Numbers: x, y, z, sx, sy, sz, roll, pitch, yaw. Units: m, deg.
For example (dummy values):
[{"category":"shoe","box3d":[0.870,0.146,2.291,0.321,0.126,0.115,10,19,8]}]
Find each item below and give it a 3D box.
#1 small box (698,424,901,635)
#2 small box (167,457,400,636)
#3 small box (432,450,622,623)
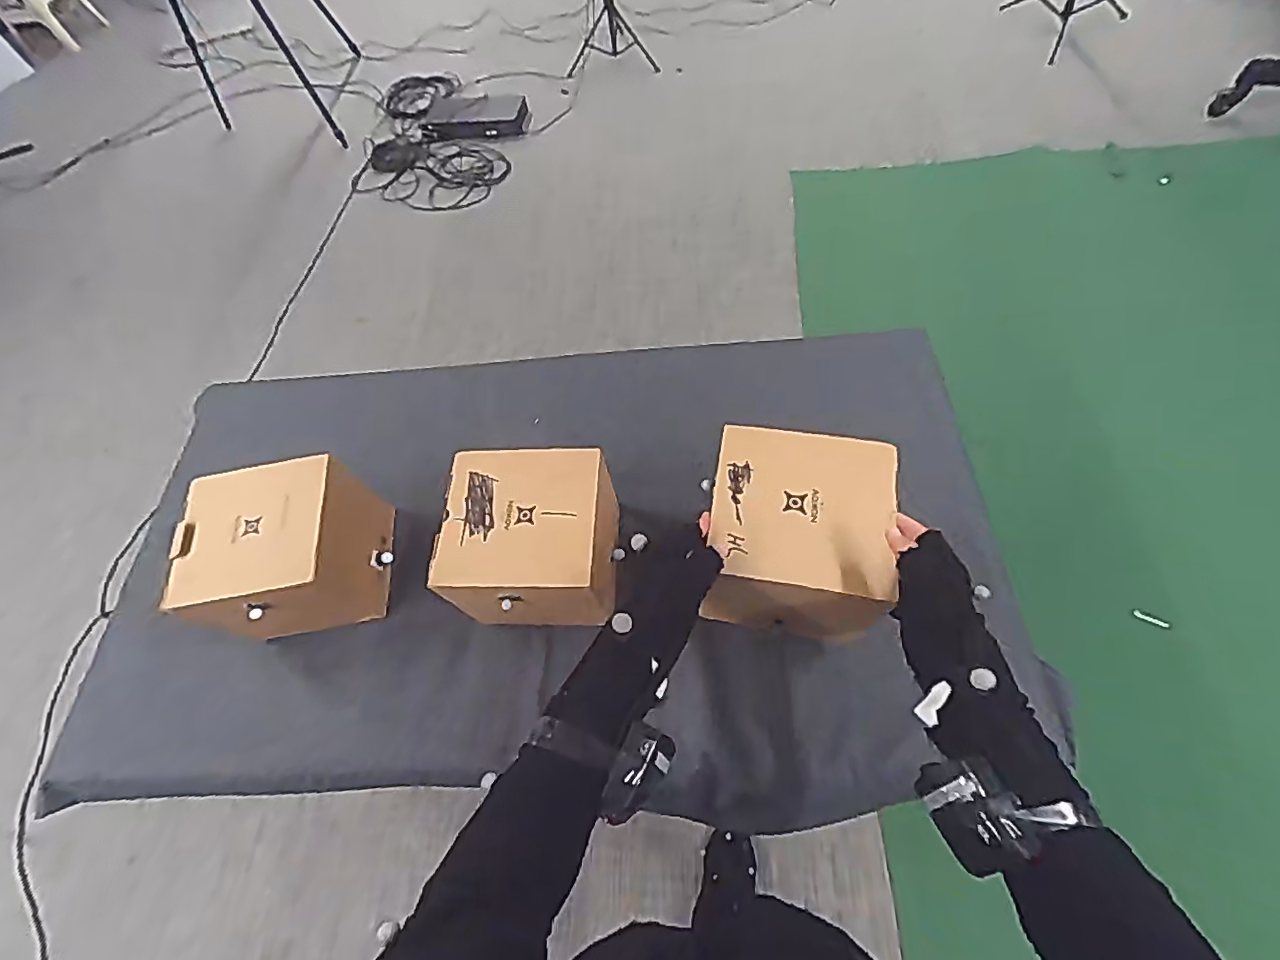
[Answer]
[{"category":"small box","box3d":[0.163,0.062,0.589,0.179,0.176,0.168,8,63,9]},{"category":"small box","box3d":[-0.438,0.094,0.696,0.179,0.176,0.168,-11,64,0]},{"category":"small box","box3d":[-0.123,0.077,0.665,0.179,0.176,0.168,-2,63,5]}]
